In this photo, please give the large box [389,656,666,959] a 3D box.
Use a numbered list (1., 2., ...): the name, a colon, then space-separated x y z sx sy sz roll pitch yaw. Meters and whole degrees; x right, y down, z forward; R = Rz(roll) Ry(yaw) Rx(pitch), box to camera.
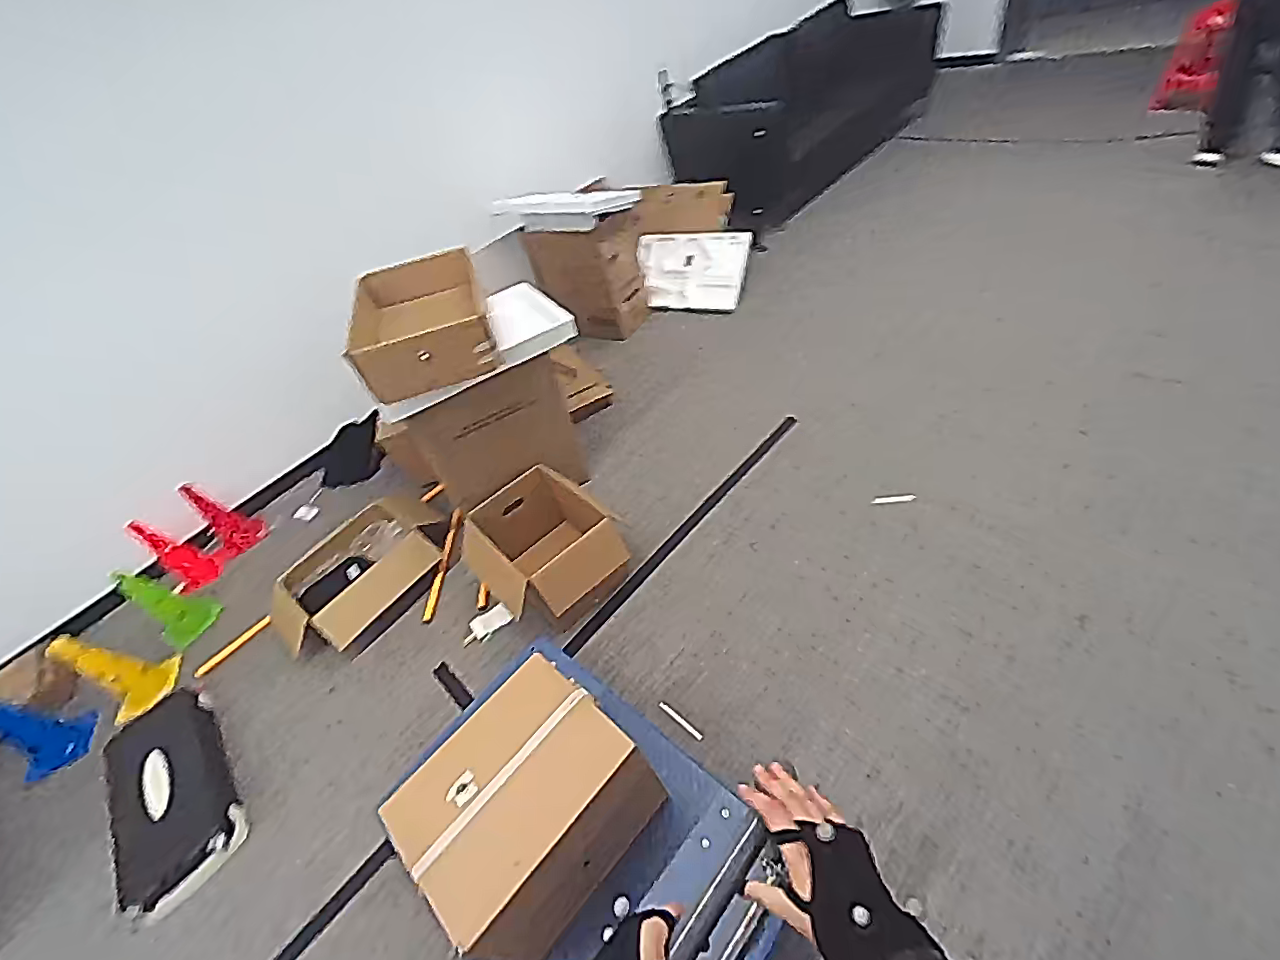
1. large box: -0.206 0.663 1.117 0.320 0.320 0.408 26 59 38
